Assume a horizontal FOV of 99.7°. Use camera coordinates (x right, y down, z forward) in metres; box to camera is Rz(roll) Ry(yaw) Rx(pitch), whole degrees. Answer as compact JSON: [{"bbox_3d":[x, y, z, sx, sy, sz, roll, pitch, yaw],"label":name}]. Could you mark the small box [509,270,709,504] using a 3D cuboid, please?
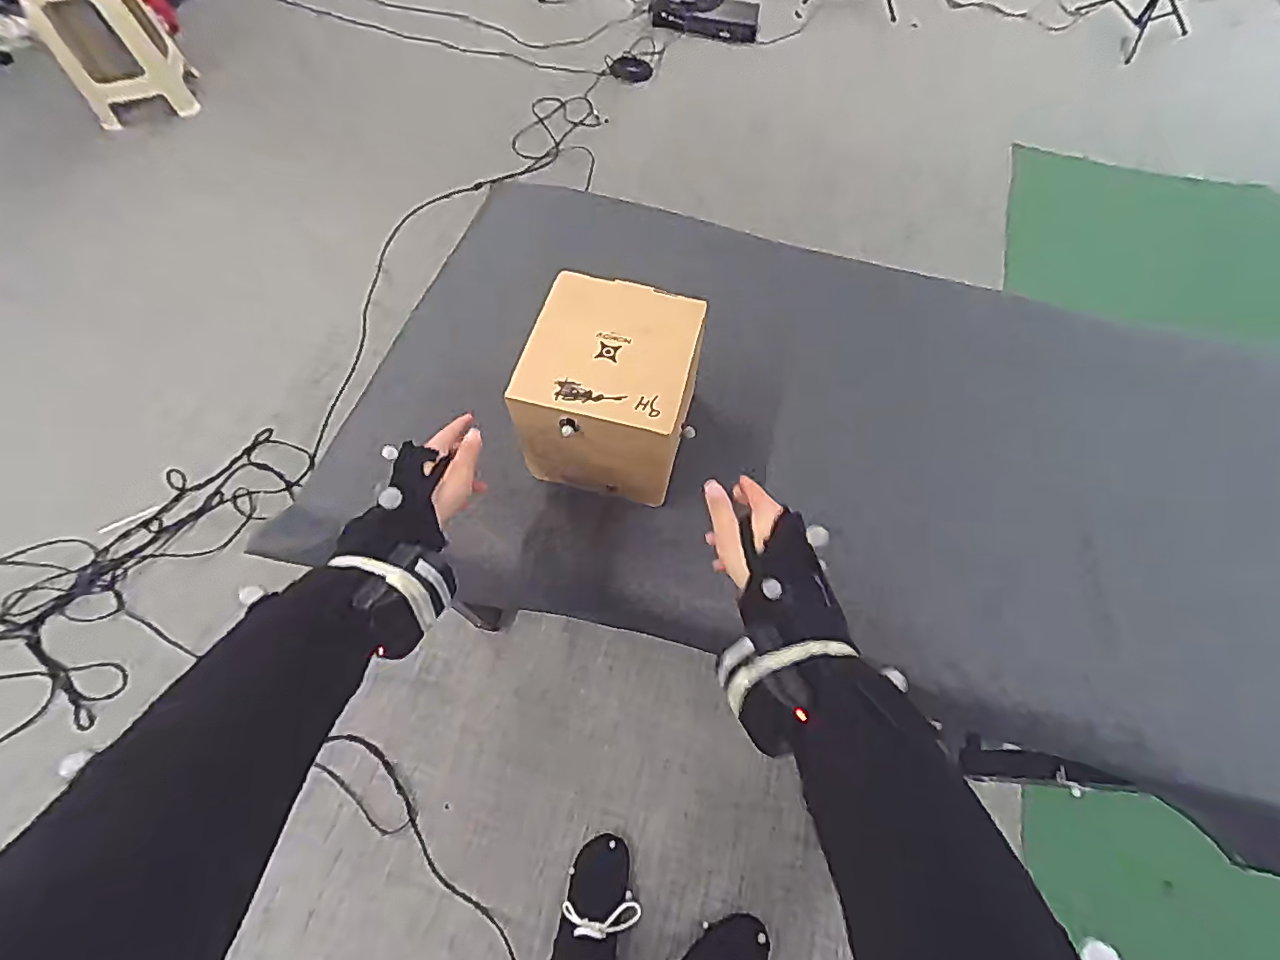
[{"bbox_3d":[-0.030,-0.098,0.612,0.168,0.176,0.179,14,63,5],"label":"small box"}]
